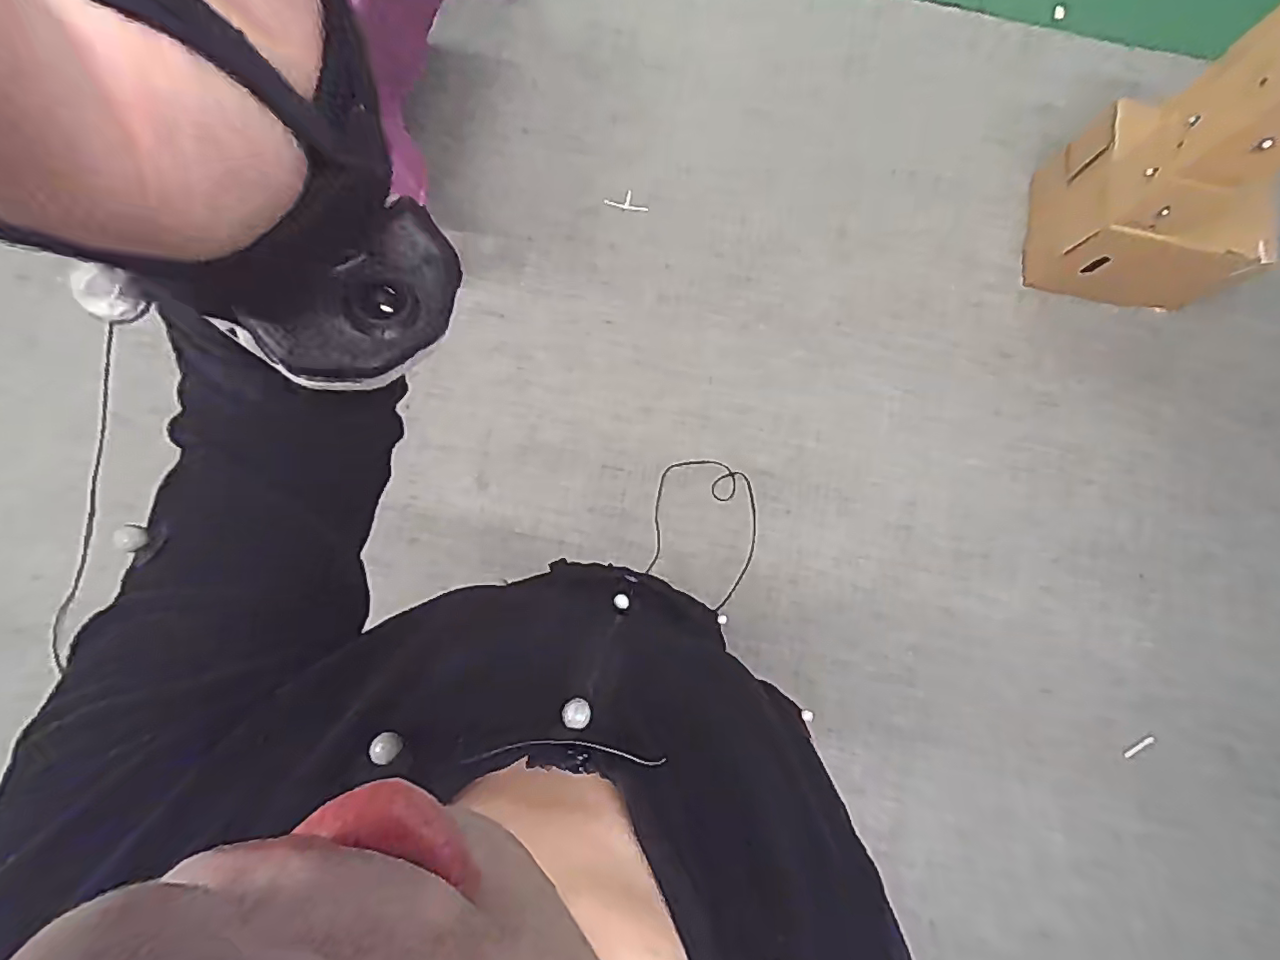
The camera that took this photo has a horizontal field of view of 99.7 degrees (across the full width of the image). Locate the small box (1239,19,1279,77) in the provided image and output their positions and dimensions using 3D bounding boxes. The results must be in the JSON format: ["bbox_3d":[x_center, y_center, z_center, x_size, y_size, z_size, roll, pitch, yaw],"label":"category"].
[{"bbox_3d":[1.502,-0.940,1.202,0.168,0.176,0.179,10,79,-2],"label":"small box"}]

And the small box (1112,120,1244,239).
[{"bbox_3d":[1.309,-0.725,1.321,0.168,0.176,0.179,13,81,-1],"label":"small box"}]
